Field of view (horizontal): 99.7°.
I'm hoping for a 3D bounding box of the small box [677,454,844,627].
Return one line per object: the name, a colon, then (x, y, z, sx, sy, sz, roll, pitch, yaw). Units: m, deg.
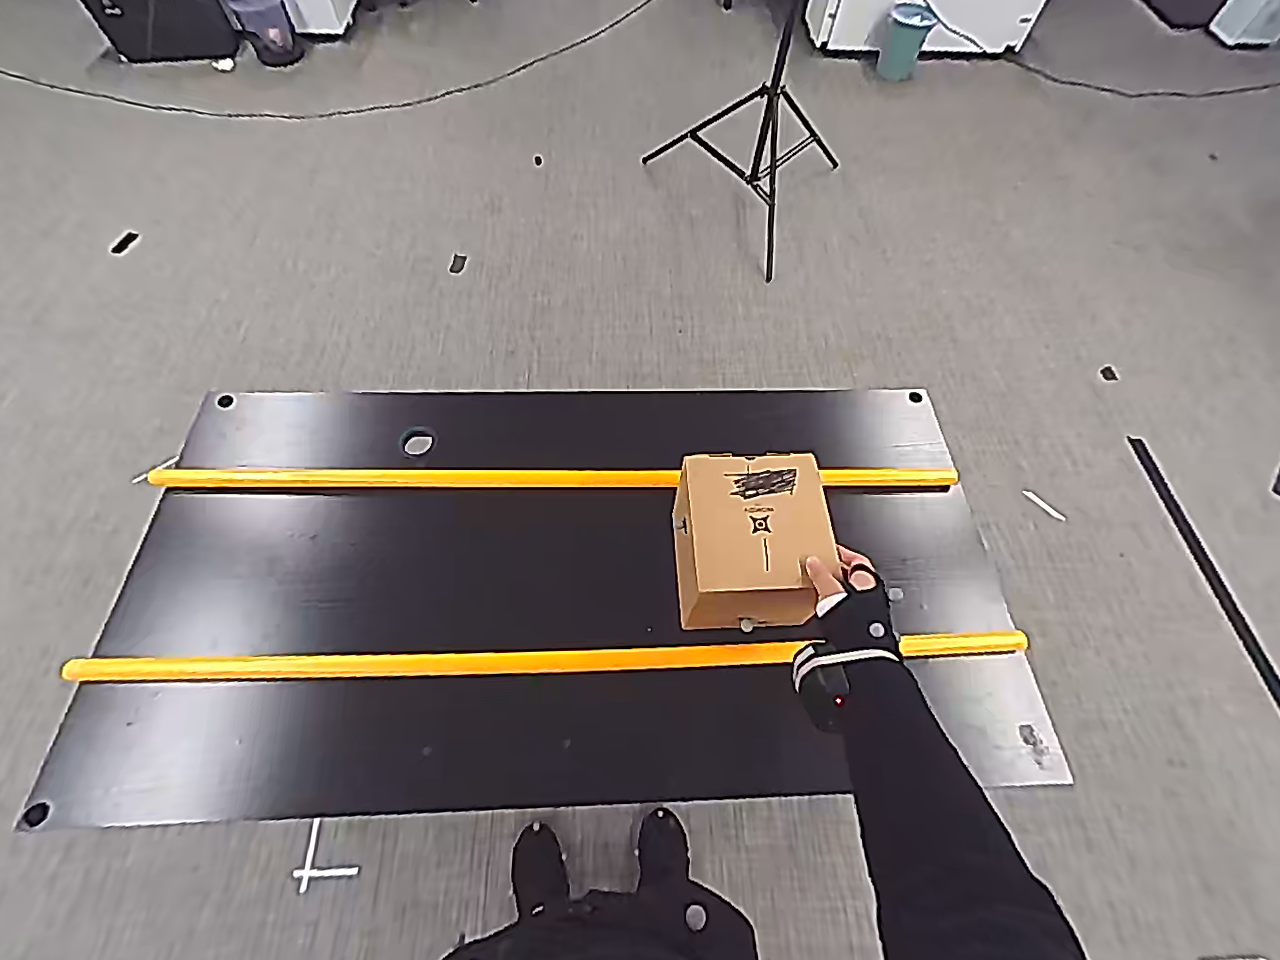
small box: (0.140, 0.083, 0.705, 0.168, 0.176, 0.179, -1, 61, -2)
